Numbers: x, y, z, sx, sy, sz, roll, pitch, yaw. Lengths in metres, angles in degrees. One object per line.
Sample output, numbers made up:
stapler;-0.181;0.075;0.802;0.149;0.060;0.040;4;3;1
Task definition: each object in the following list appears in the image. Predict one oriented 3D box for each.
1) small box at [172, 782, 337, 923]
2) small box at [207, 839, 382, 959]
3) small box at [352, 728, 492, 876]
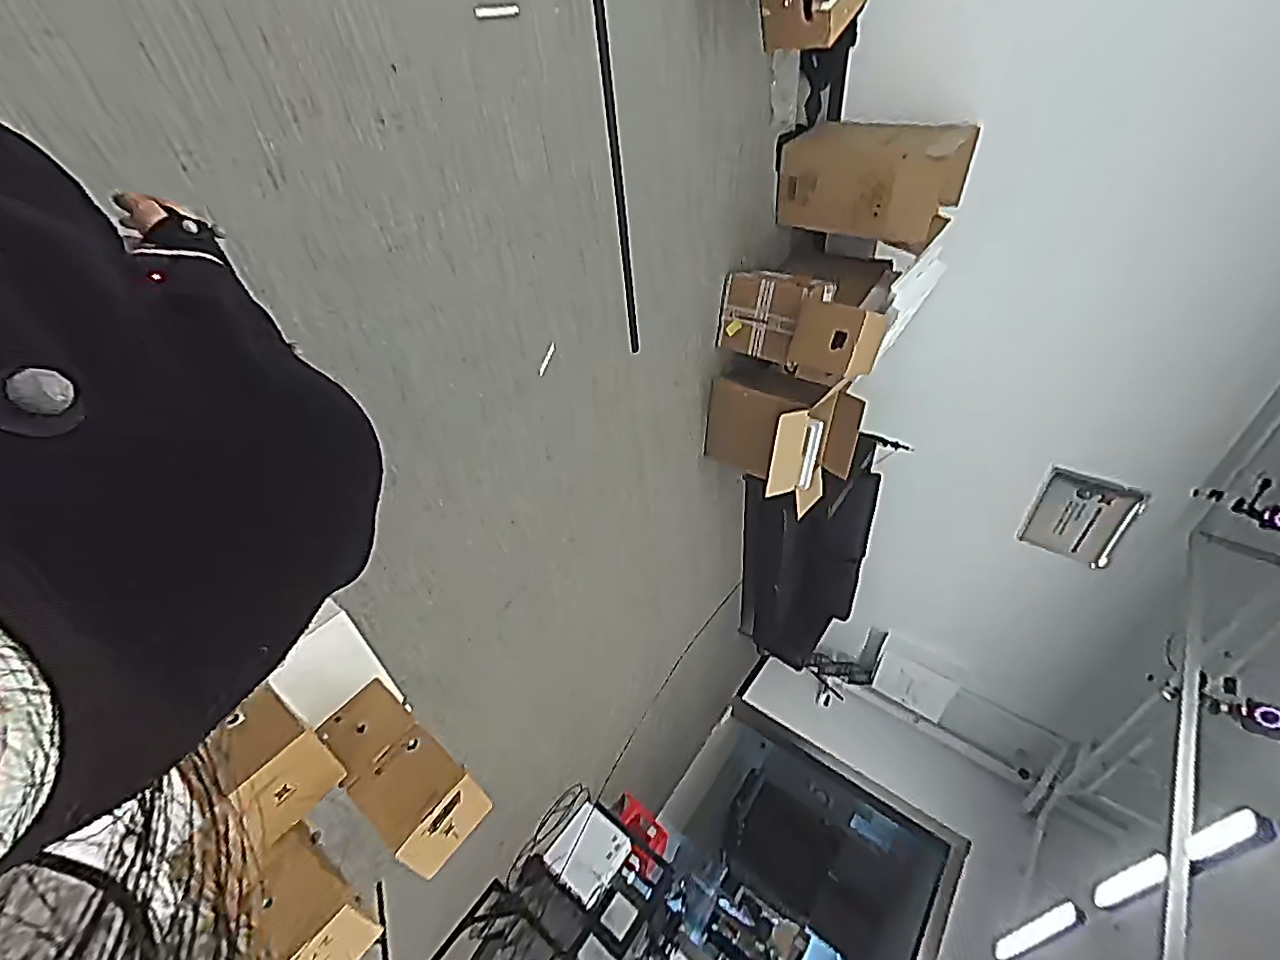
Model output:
small box;-0.720;0.709;1.013;0.168;0.176;0.179;-40;140;-36
small box;-0.589;0.769;0.932;0.168;0.176;0.179;-41;140;-36
small box;-0.430;0.629;1.074;0.168;0.176;0.179;-43;142;-33
